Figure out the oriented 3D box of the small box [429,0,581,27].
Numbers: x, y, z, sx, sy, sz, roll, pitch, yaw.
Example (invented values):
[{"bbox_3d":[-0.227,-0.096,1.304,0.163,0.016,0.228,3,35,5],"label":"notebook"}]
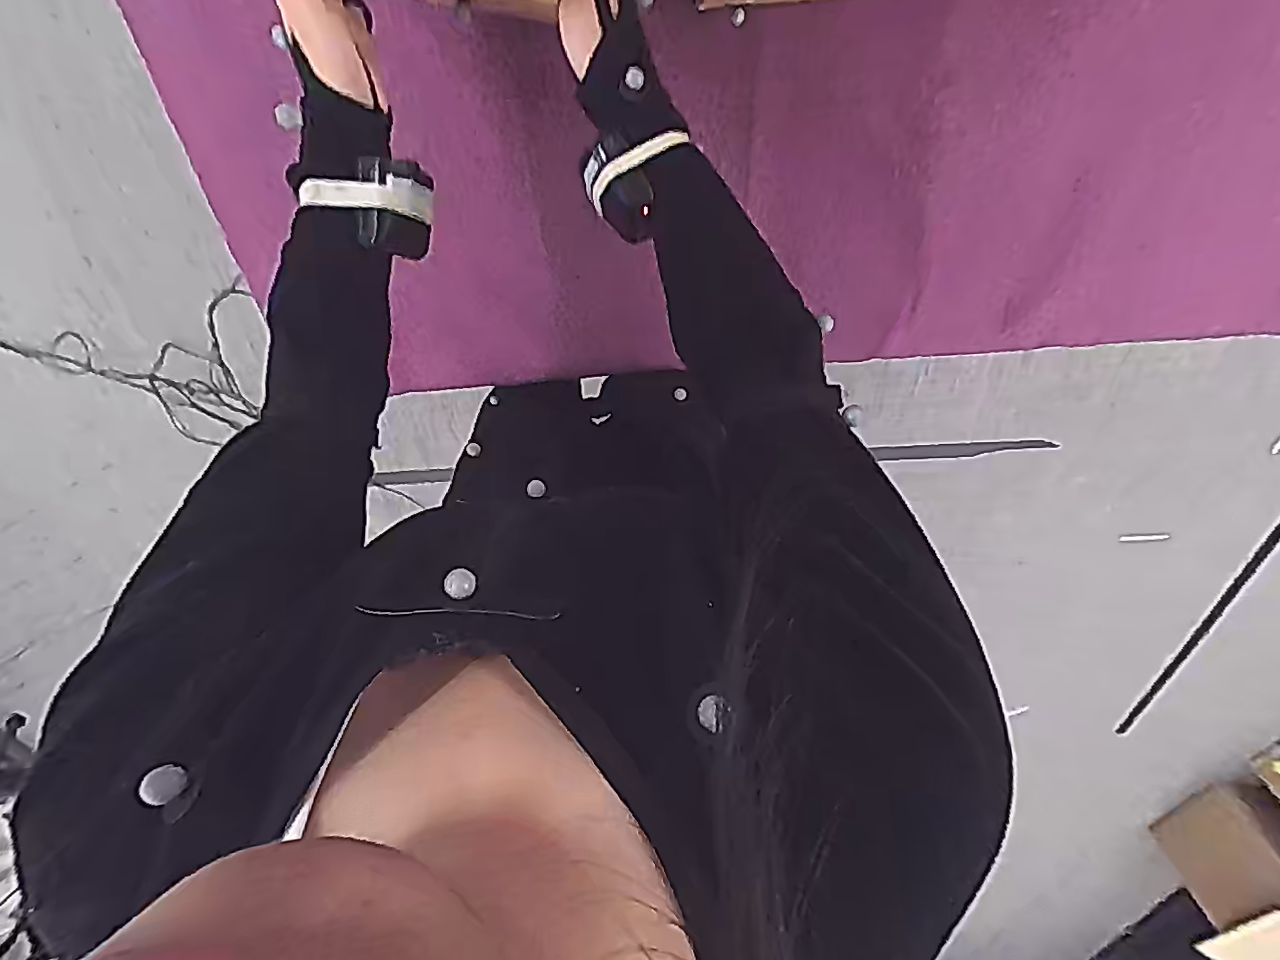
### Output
[{"bbox_3d":[-0.122,-0.432,0.361,0.168,0.176,0.179,7,125,-5],"label":"small box"}]
